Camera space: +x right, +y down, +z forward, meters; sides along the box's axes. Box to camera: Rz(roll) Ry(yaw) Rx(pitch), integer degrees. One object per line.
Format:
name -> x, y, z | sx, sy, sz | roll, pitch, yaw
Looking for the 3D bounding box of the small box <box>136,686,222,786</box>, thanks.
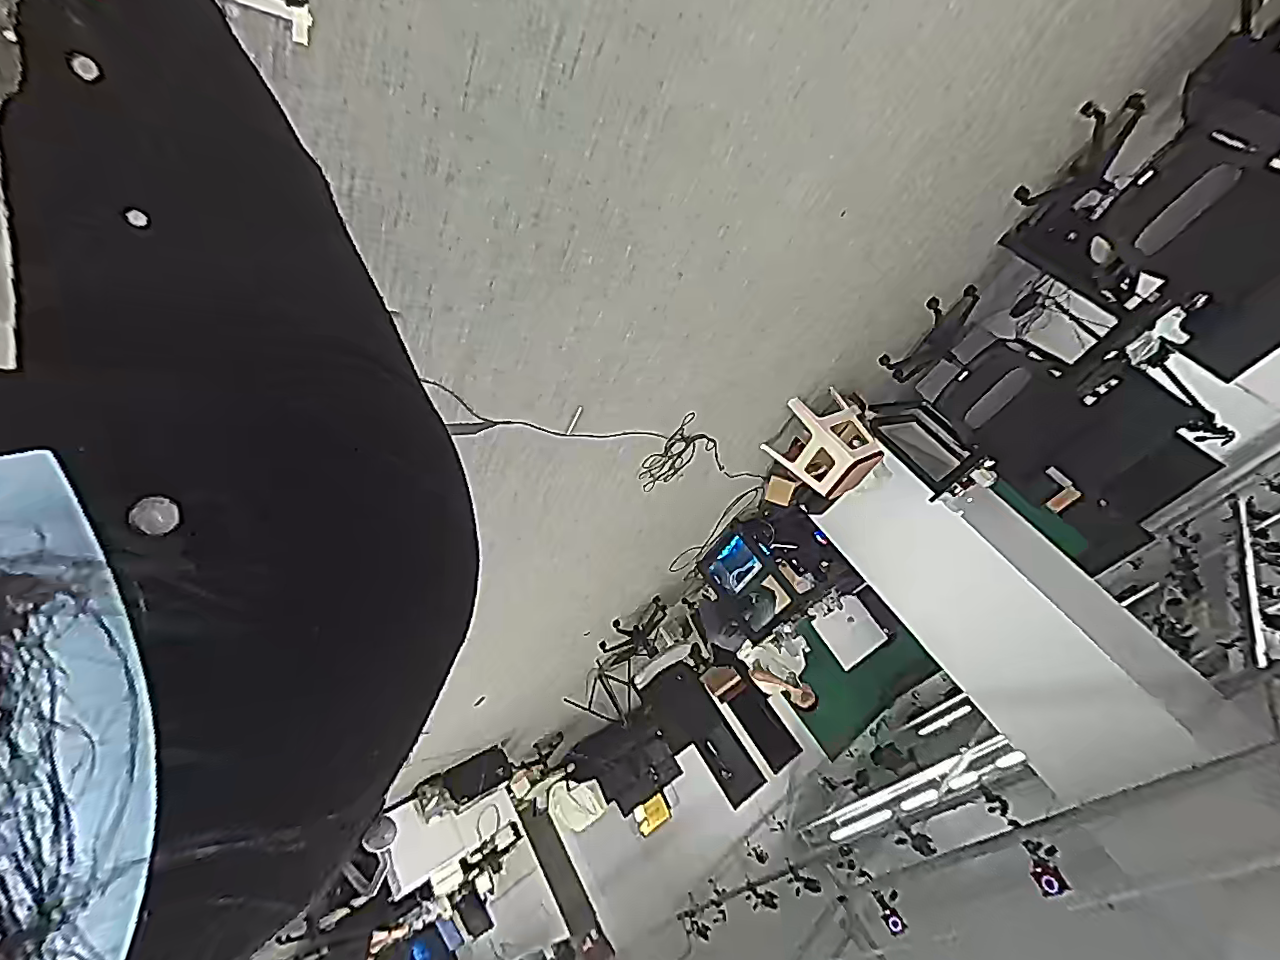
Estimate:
small box -> -1.296, 0.714, 1.523 | 0.168, 0.176, 0.179 | -9, 142, -44
